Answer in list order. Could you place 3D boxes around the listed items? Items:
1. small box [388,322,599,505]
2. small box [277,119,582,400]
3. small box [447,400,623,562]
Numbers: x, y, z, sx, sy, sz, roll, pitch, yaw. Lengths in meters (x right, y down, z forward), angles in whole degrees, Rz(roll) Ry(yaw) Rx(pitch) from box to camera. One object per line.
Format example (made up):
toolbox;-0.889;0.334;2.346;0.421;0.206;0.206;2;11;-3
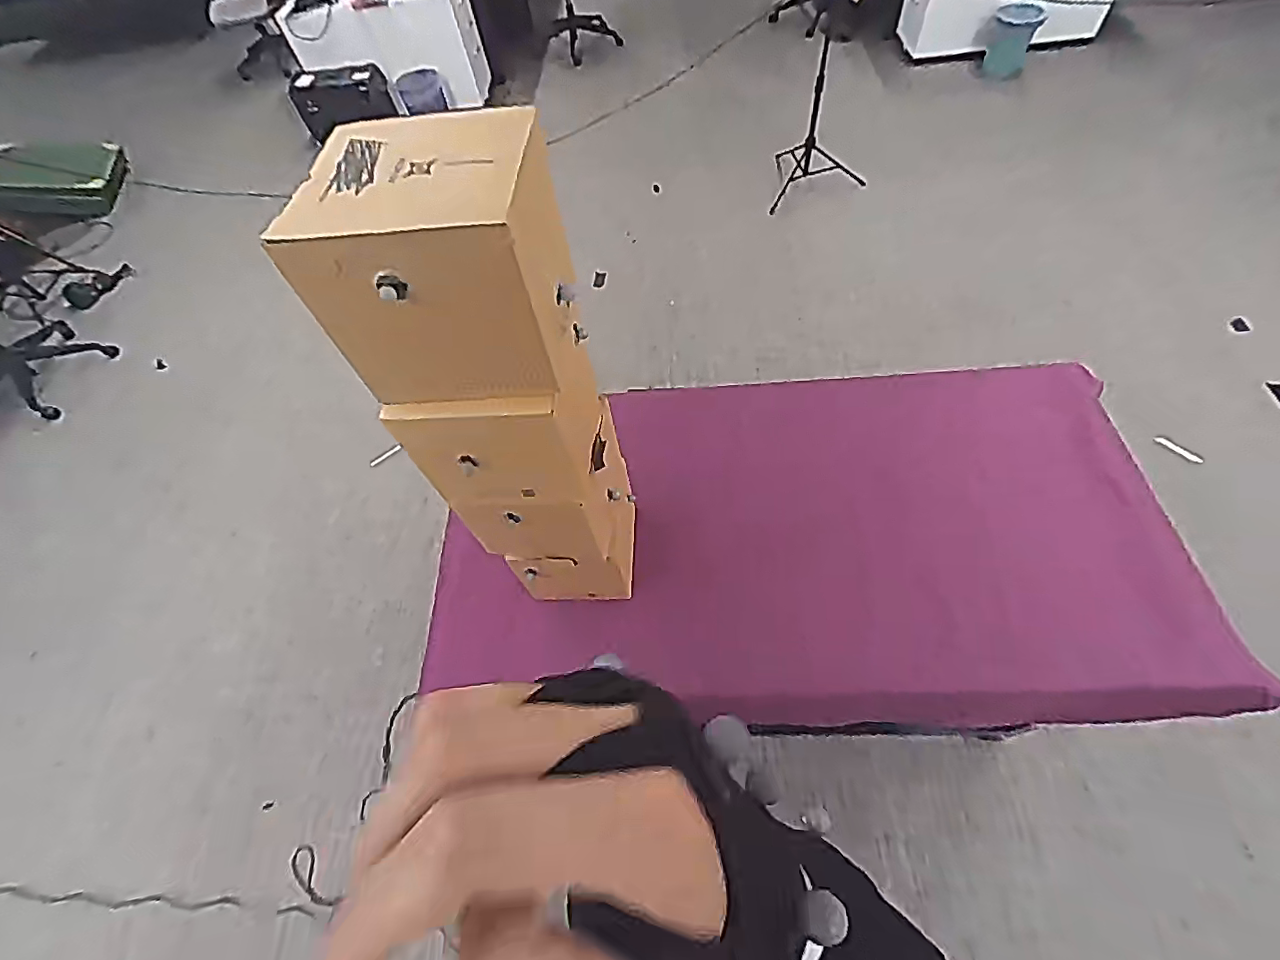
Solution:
small box;-0.144;-0.082;0.607;0.168;0.176;0.179;-1;56;6
small box;-0.158;-0.184;0.478;0.179;0.176;0.168;-1;57;5
small box;-0.129;0.002;0.745;0.179;0.176;0.168;5;59;9
